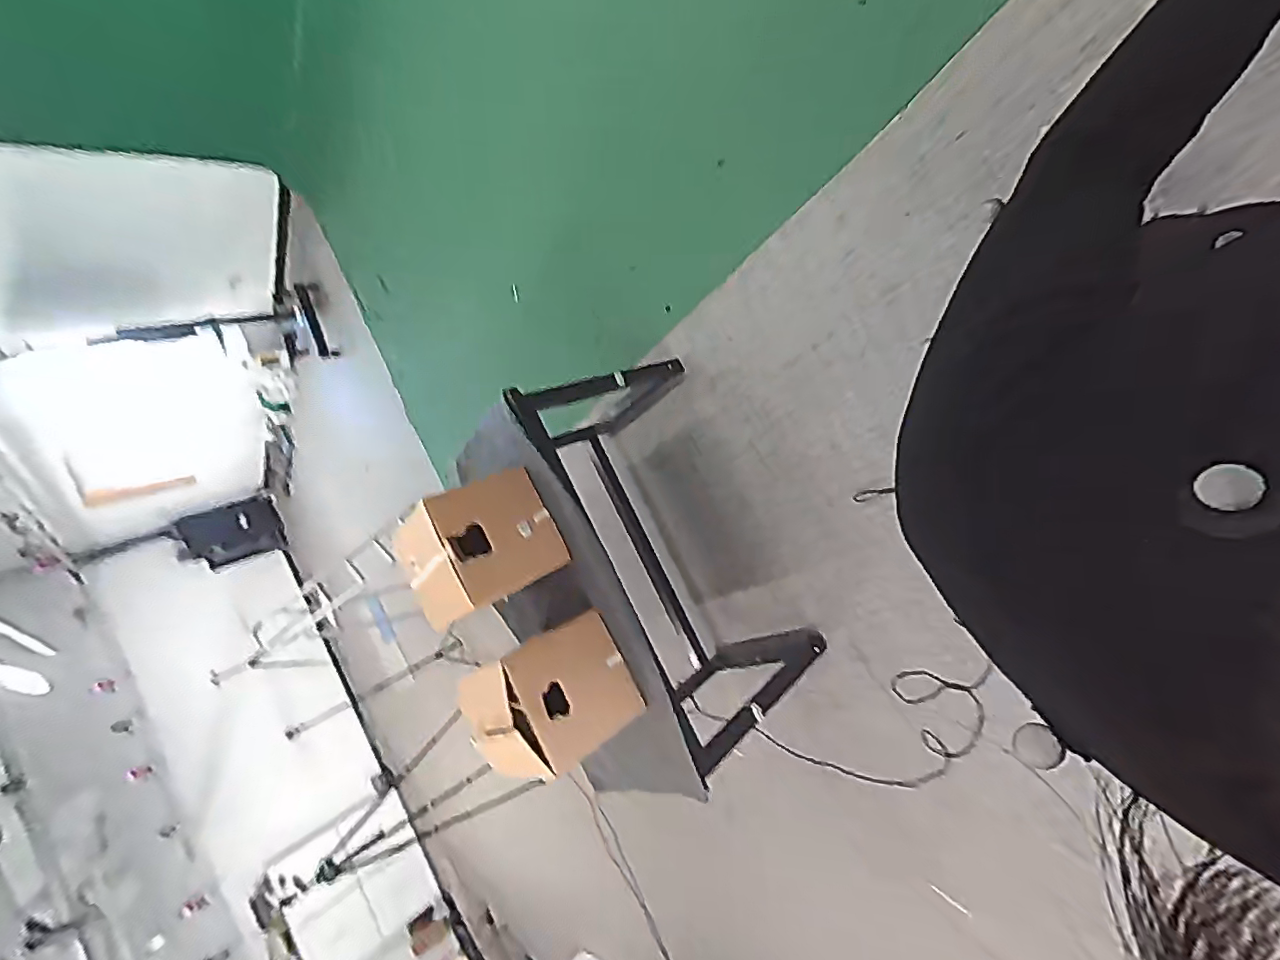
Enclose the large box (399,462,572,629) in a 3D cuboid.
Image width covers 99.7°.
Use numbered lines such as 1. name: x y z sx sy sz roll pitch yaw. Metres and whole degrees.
1. large box: -0.462 0.195 1.591 0.408 0.320 0.320 -35 80 50
